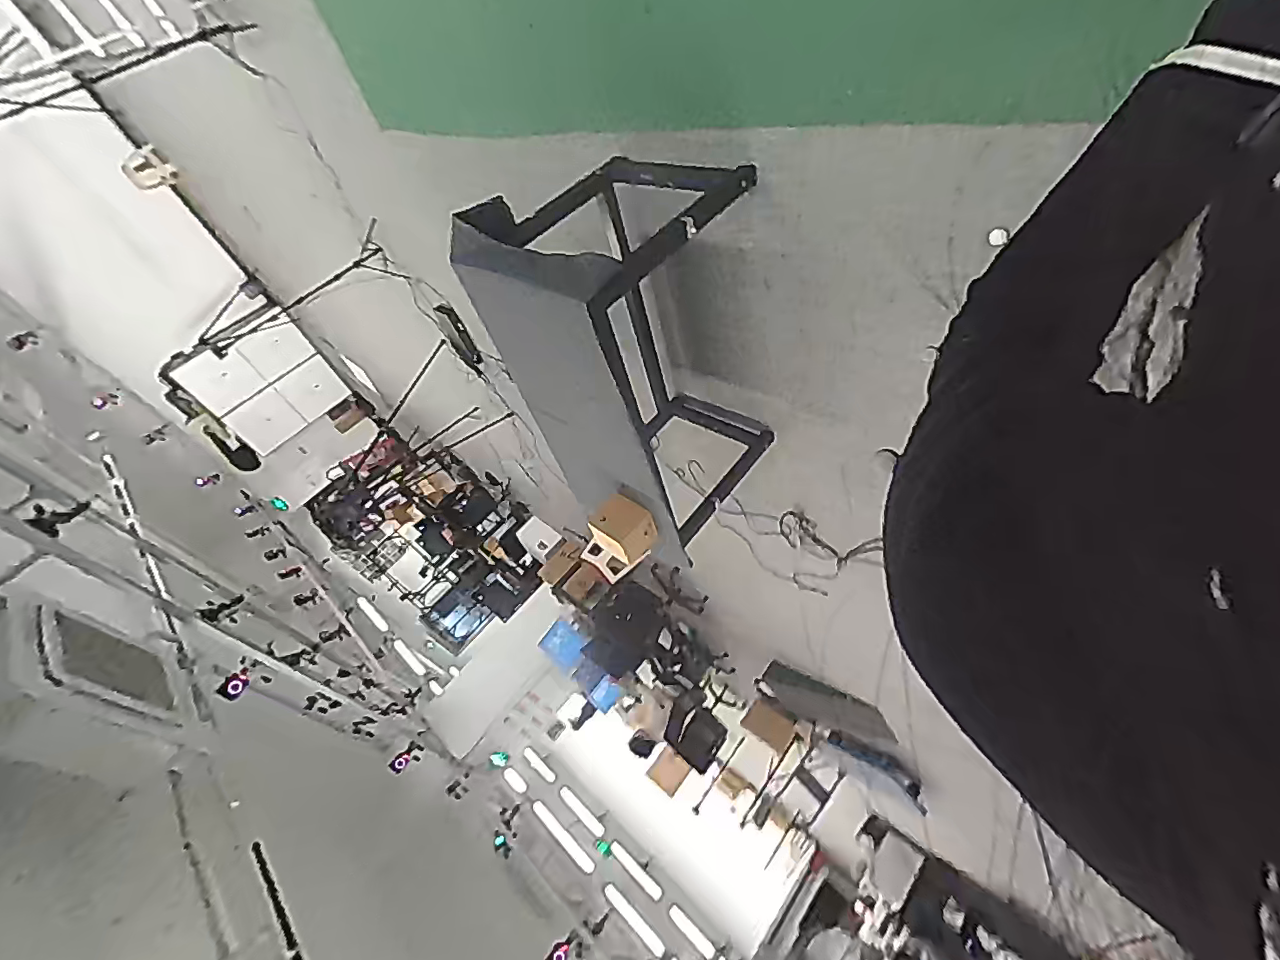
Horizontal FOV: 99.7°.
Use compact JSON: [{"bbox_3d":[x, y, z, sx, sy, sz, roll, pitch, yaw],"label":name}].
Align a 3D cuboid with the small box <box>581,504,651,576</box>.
[{"bbox_3d":[-0.084,0.216,2.009,0.179,0.176,0.168,28,153,32],"label":"small box"}]
